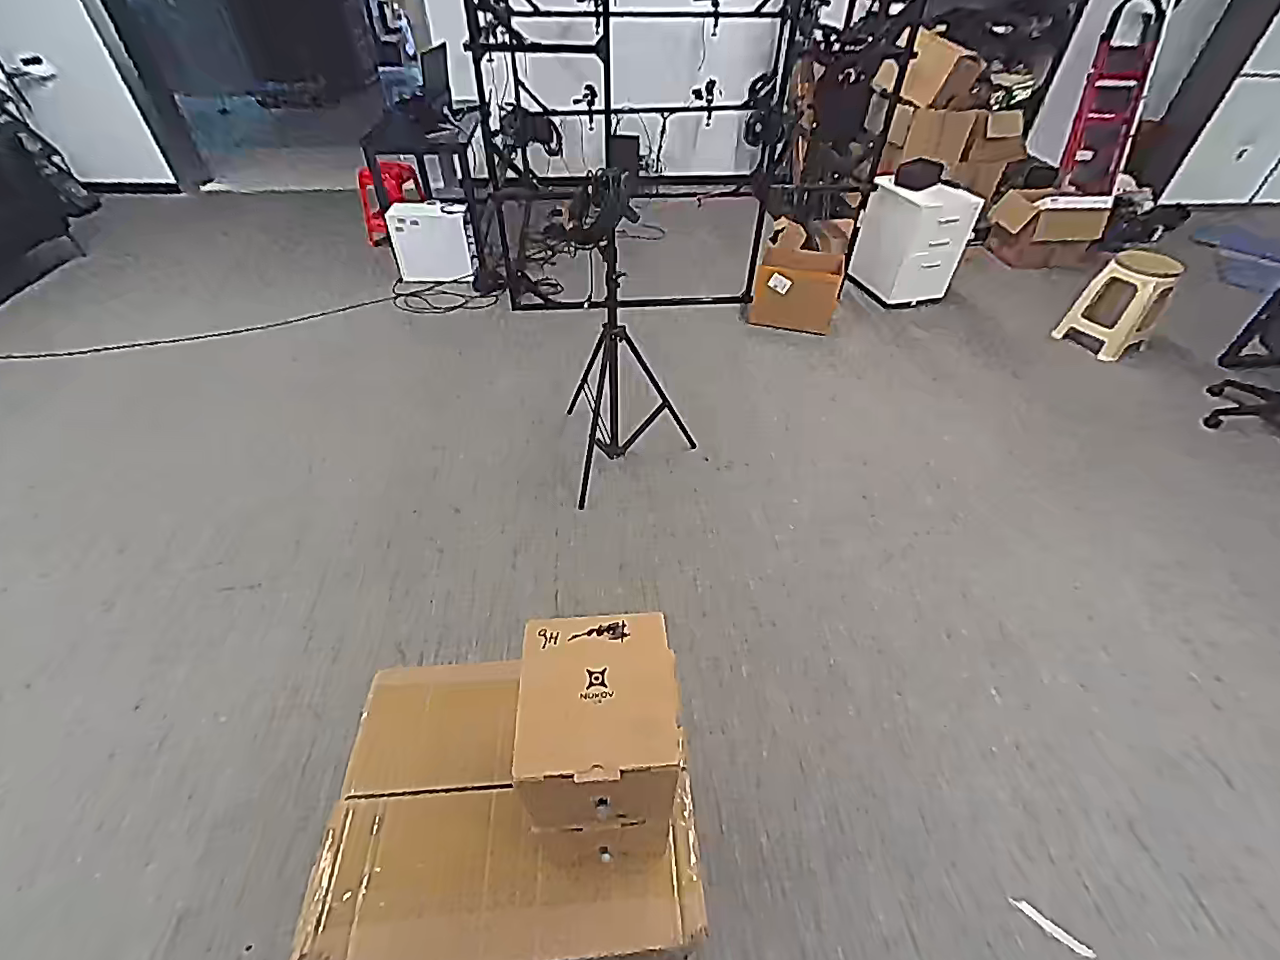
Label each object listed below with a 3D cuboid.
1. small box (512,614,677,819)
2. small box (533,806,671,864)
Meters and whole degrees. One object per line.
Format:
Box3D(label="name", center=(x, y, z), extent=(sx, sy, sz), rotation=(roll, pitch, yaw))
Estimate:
Box3D(label="small box", center=(-0.048, 0.282, 0.638), extent=(0.168, 0.176, 0.179), rotation=(-3, 45, -3))
Box3D(label="small box", center=(-0.052, 0.403, 0.749), extent=(0.168, 0.176, 0.179), rotation=(-4, 44, -4))
